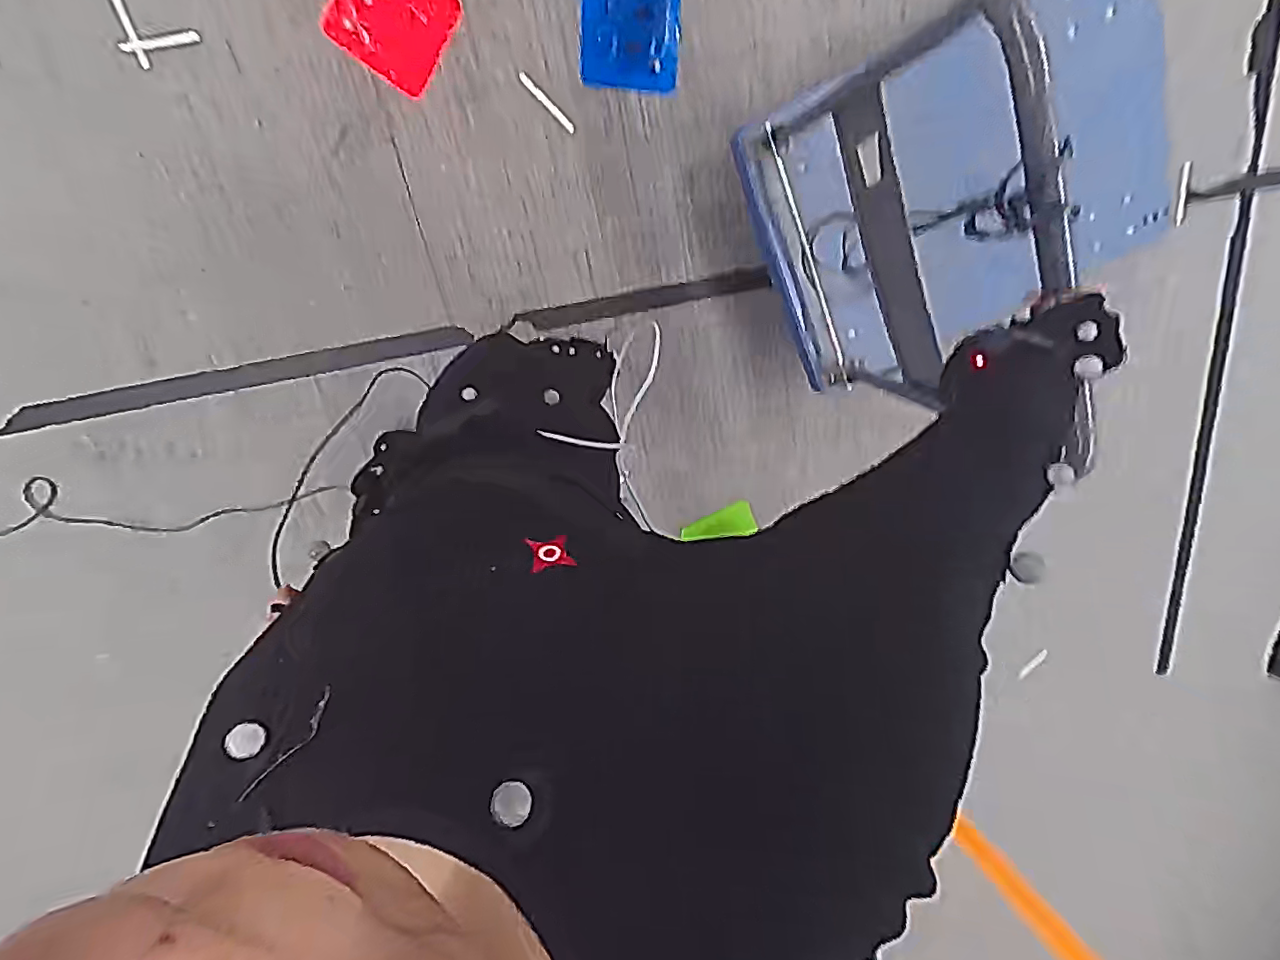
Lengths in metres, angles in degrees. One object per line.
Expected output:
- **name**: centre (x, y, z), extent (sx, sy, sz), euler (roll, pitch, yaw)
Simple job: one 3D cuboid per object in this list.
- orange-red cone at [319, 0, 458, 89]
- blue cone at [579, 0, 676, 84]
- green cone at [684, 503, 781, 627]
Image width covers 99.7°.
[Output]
- **orange-red cone**: centre (-0.439, -0.818, 0.845), extent (0.199, 0.360, 0.198), euler (31, 102, -19)
- **blue cone**: centre (-0.002, -0.848, 0.920), extent (0.192, 0.380, 0.193), euler (2, 109, -9)
- **green cone**: centre (0.262, 0.233, 1.316), extent (0.202, 0.368, 0.200), euler (-25, 110, 2)
